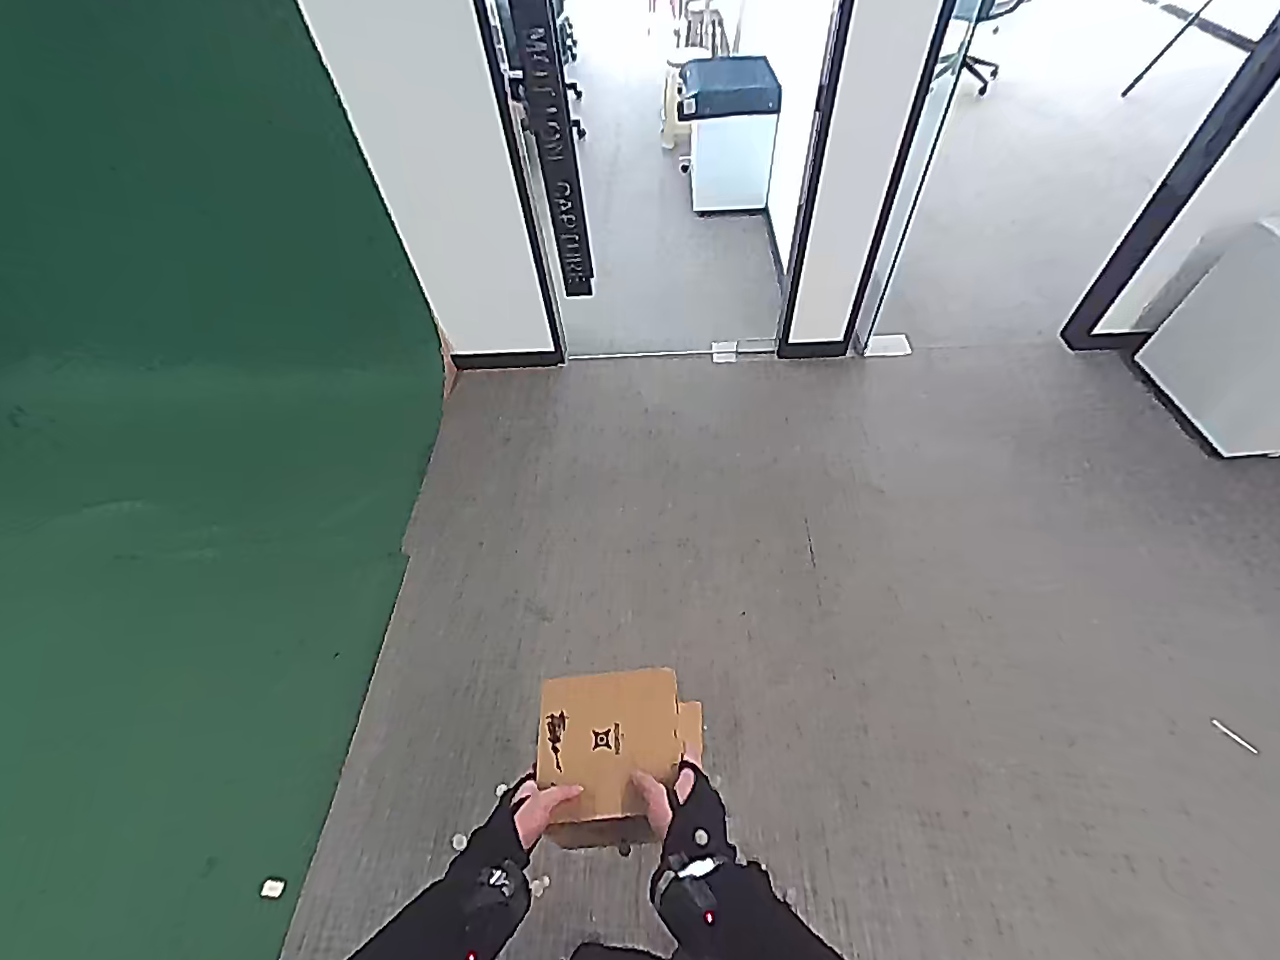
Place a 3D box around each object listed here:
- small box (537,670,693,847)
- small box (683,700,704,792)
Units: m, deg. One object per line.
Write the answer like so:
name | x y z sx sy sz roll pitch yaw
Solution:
small box | -0.026 0.367 0.708 0.179 0.176 0.168 -6 47 2
small box | 0.072 0.655 1.335 0.168 0.176 0.179 0 53 7
